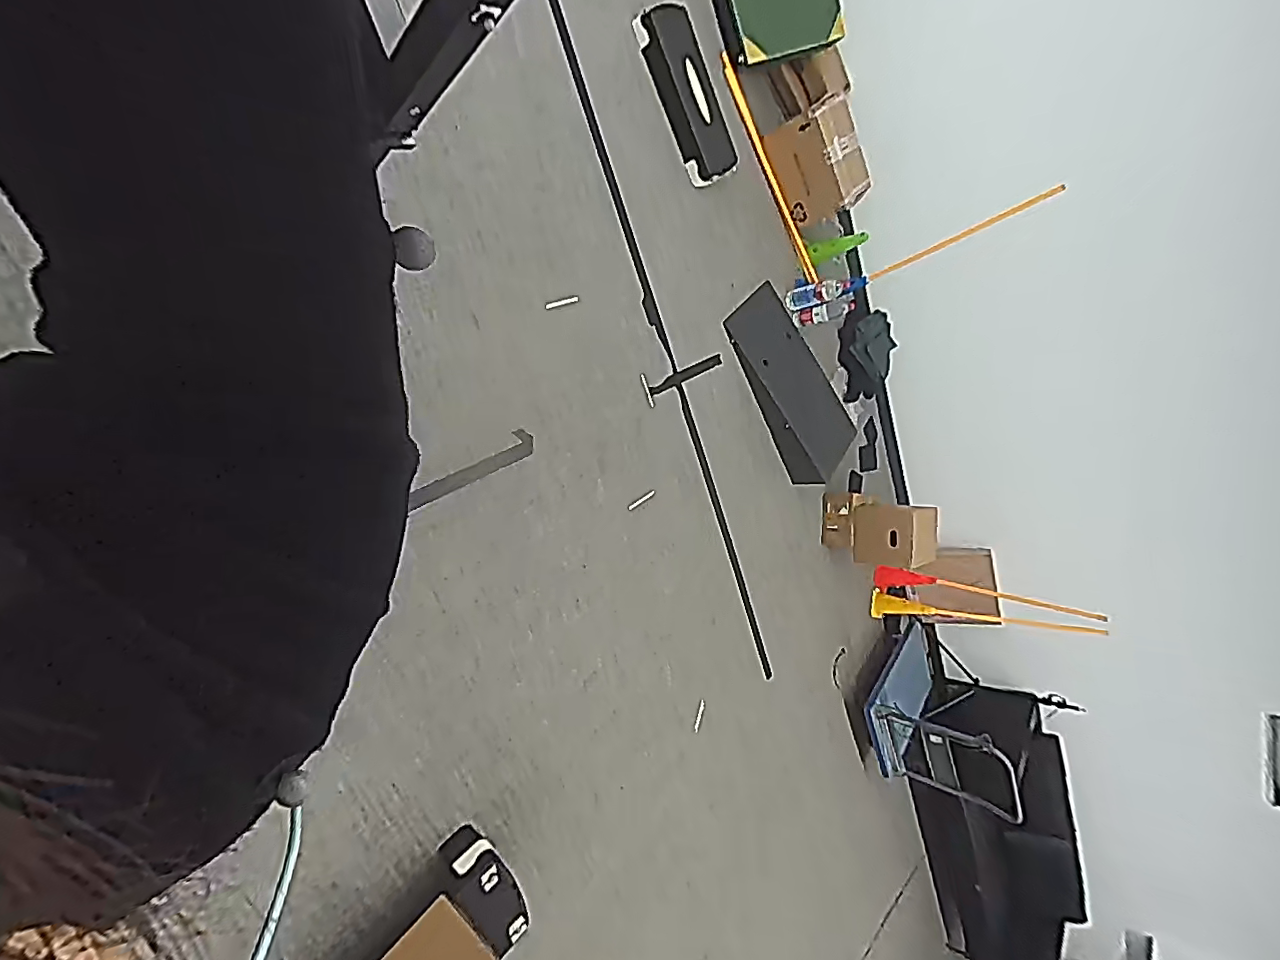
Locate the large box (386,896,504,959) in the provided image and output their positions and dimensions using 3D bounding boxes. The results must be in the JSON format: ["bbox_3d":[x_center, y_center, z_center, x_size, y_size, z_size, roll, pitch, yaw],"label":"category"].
[{"bbox_3d":[-0.460,1.266,1.184,0.408,0.320,0.320,-37,114,-40],"label":"large box"}]
